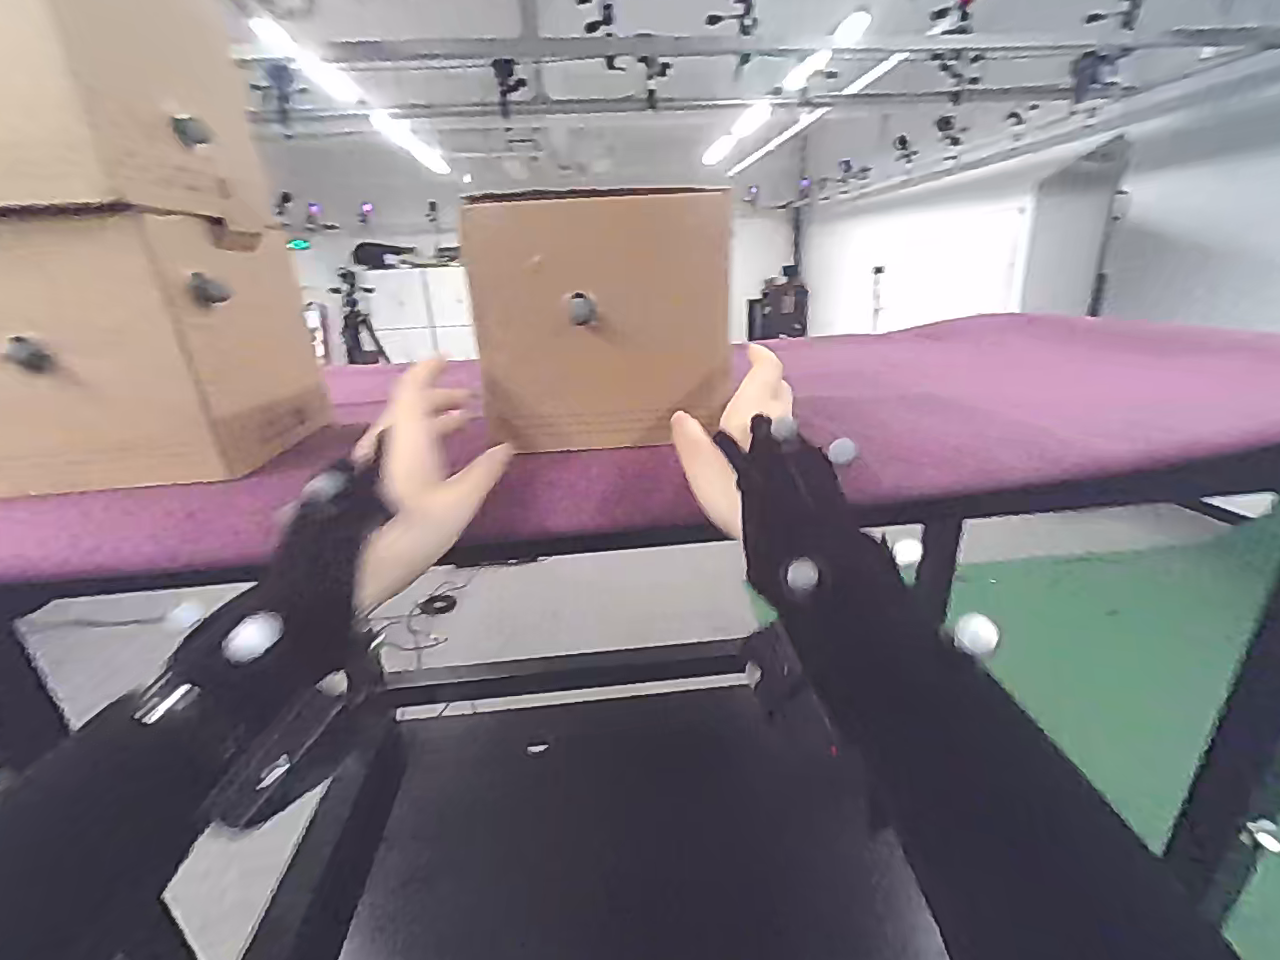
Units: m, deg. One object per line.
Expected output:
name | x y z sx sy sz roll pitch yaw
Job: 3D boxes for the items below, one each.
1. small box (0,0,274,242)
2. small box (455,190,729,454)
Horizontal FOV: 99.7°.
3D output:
small box | -0.375 -0.245 0.334 0.179 0.176 0.168 -4 21 -5
small box | -0.028 -0.124 0.439 0.179 0.176 0.168 -4 21 -2
